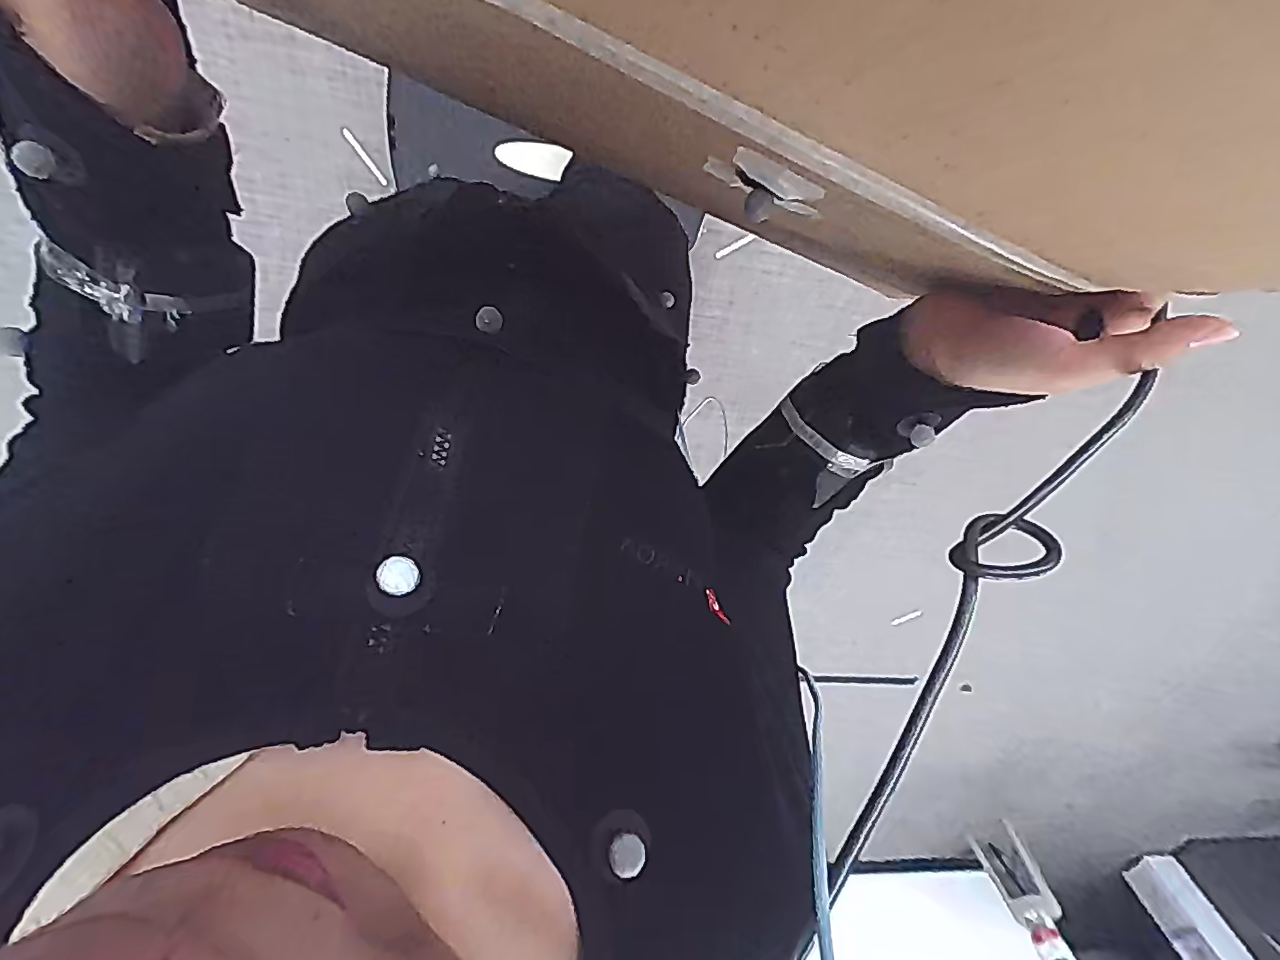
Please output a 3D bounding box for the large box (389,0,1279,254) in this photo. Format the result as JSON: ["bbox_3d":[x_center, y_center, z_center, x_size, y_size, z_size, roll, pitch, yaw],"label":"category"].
[{"bbox_3d":[0.071,-0.289,0.112,0.408,0.320,0.320,17,105,-12],"label":"large box"}]

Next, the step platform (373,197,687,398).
[{"bbox_3d":[-0.238,-0.408,1.250,0.684,0.204,0.286,11,122,-12],"label":"step platform"}]
